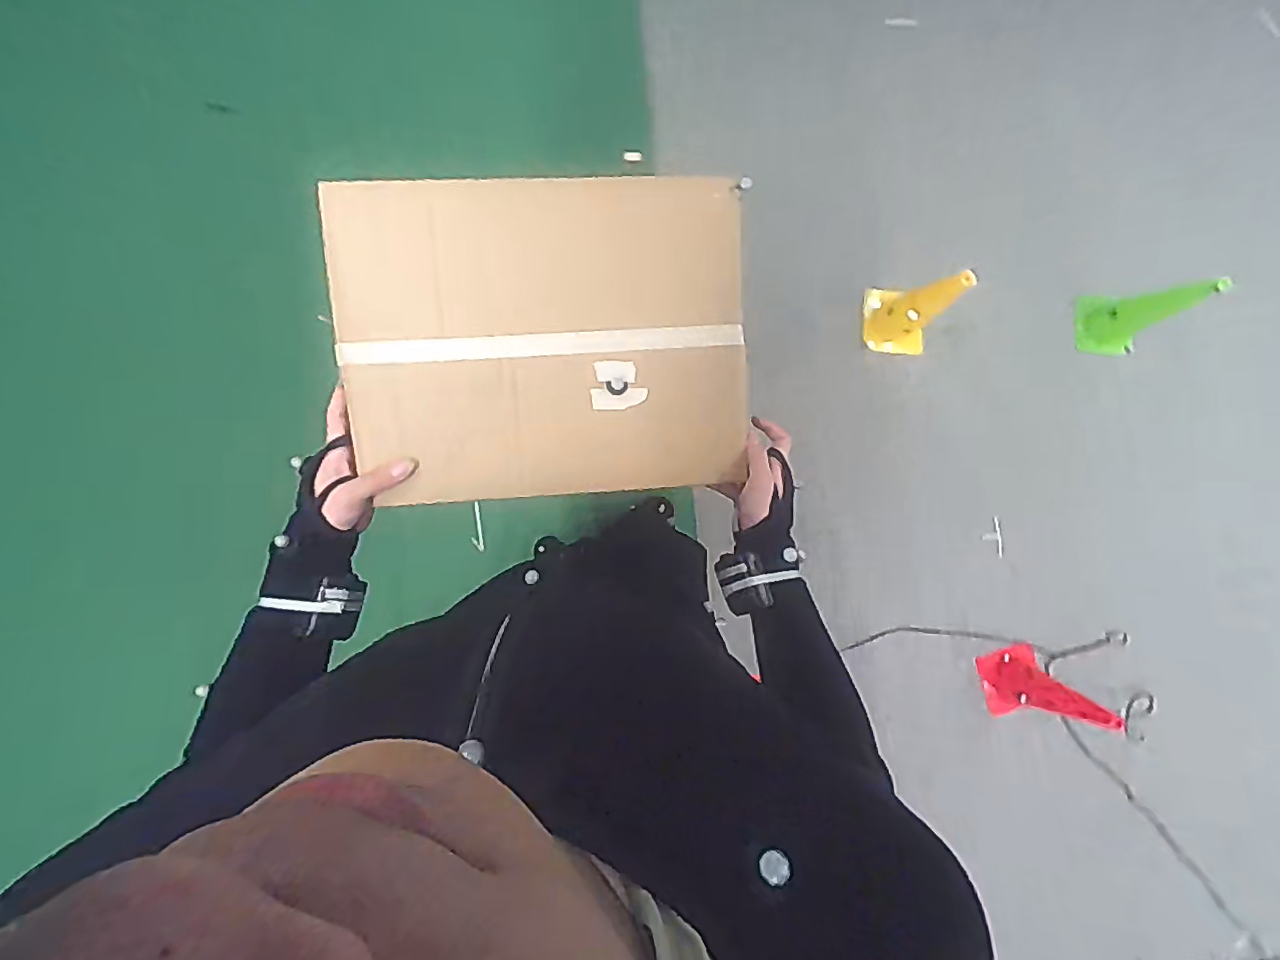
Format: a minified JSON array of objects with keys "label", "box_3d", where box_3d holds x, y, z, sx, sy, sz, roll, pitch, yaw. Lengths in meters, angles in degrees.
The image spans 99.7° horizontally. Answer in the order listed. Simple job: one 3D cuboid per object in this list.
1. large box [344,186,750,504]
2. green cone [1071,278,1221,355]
[{"label":"large box","box_3d":[-0.100,-0.158,0.706,0.408,0.320,0.320,-3,99,-6]},{"label":"green cone","box_3d":[1.573,-0.532,1.663,0.202,0.368,0.200,0,87,-4]}]
